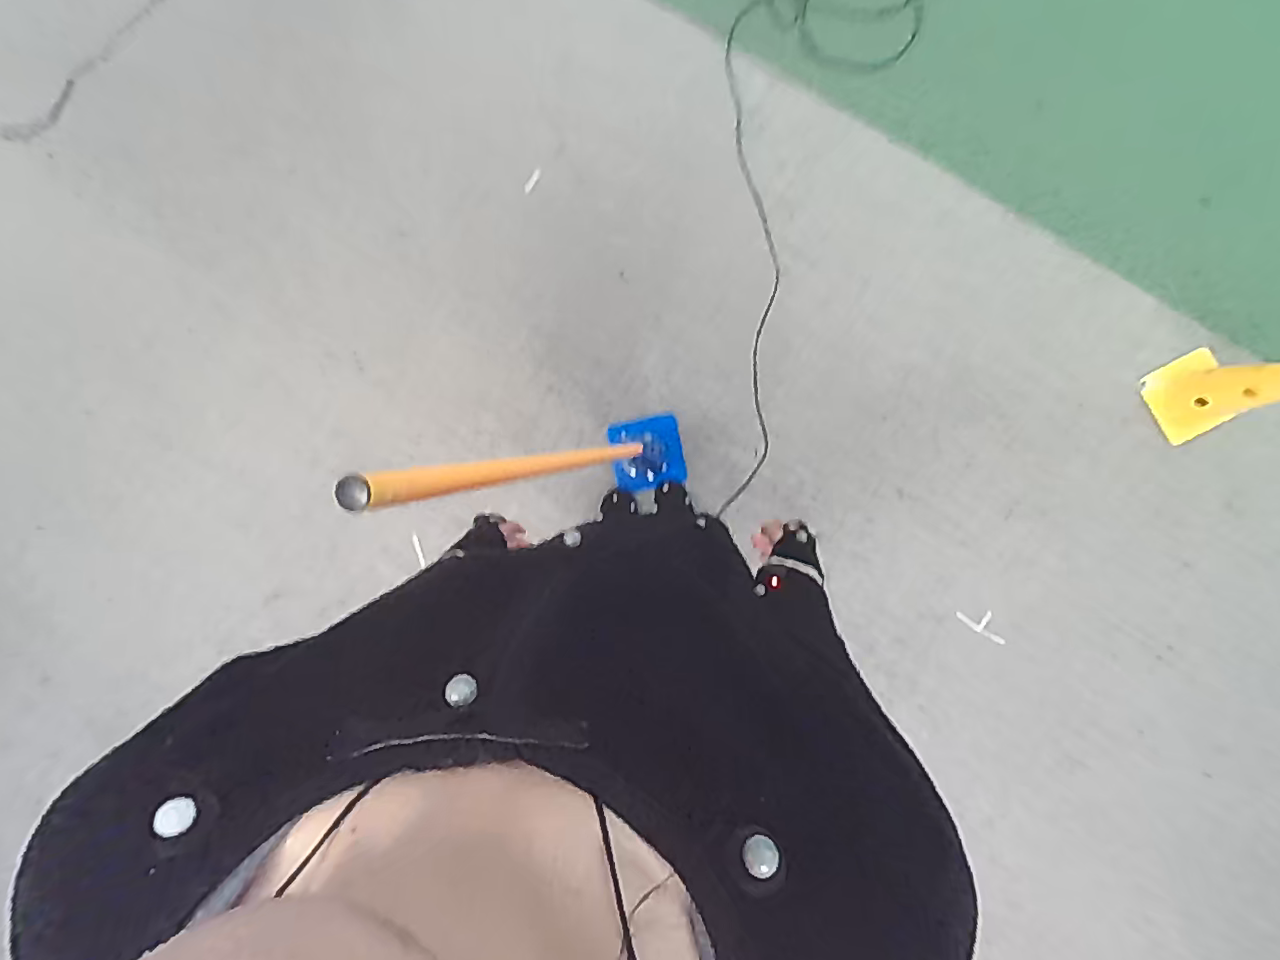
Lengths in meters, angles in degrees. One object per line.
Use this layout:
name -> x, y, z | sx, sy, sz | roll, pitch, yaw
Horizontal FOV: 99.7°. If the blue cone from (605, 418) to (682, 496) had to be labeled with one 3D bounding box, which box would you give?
blue cone -> -0.001, -0.057, 1.319 | 0.193, 0.380, 0.192 | -13, 90, 5
